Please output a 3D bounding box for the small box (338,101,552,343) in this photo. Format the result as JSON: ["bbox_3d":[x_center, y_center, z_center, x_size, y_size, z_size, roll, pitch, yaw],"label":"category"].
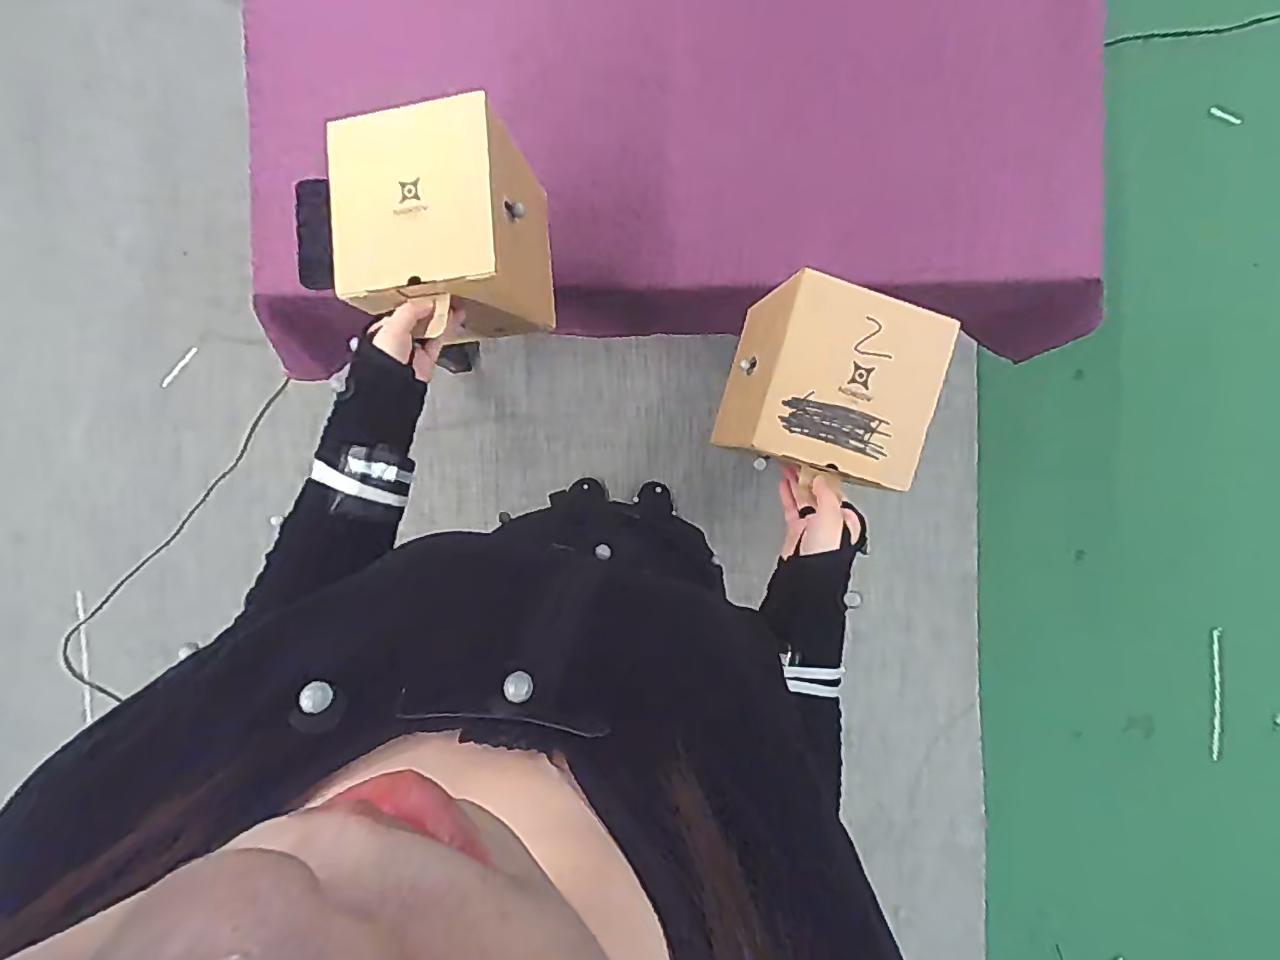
[{"bbox_3d":[-0.202,-0.266,0.599,0.168,0.176,0.179,-4,88,9],"label":"small box"}]
